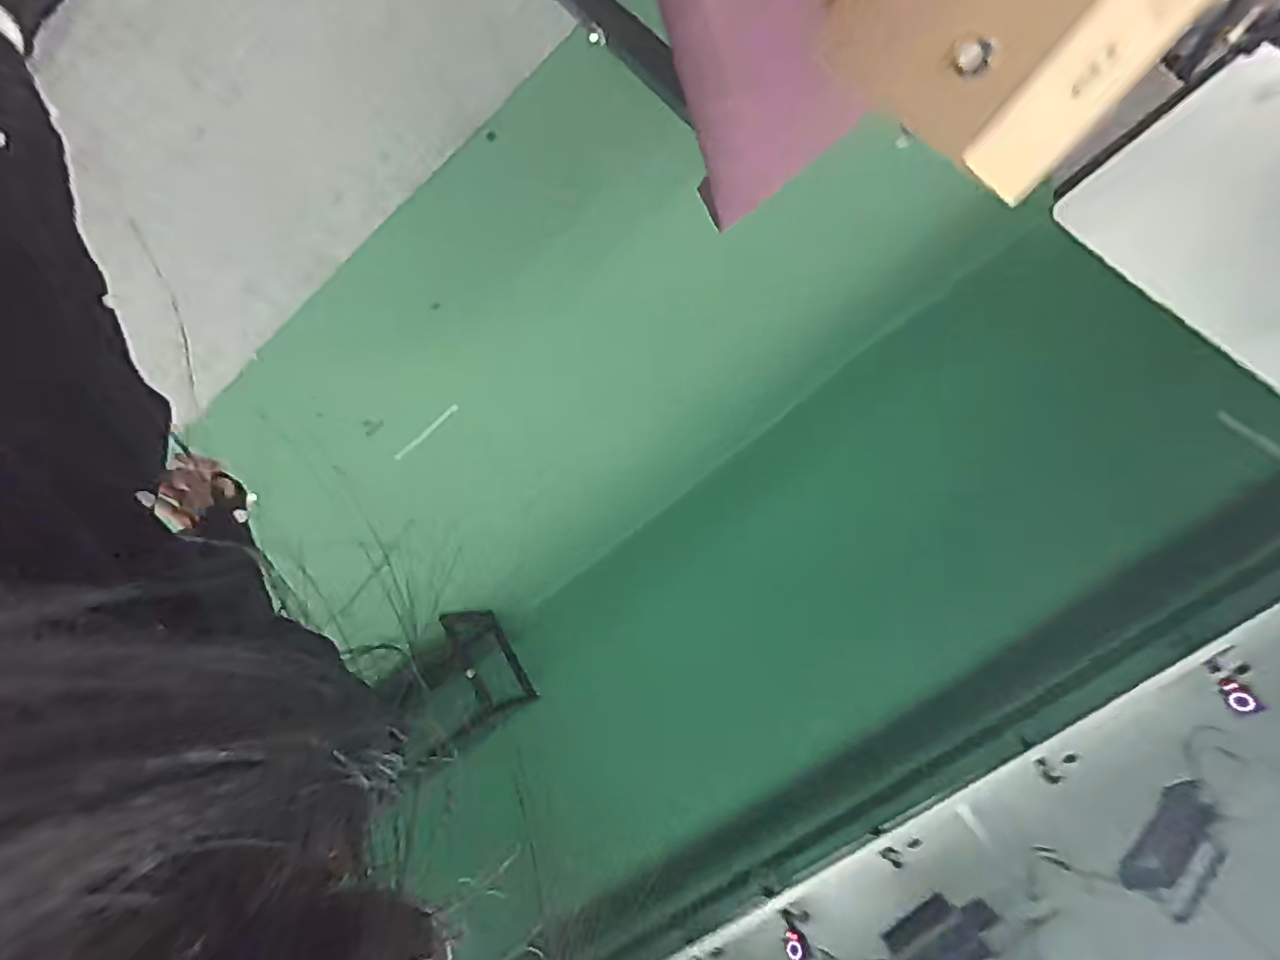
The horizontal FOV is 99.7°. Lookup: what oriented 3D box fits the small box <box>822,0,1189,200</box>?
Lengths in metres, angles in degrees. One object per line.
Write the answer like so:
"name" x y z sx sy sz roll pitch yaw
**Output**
"small box" 0.269 -0.359 0.415 0.168 0.176 0.179 -14 150 -46
